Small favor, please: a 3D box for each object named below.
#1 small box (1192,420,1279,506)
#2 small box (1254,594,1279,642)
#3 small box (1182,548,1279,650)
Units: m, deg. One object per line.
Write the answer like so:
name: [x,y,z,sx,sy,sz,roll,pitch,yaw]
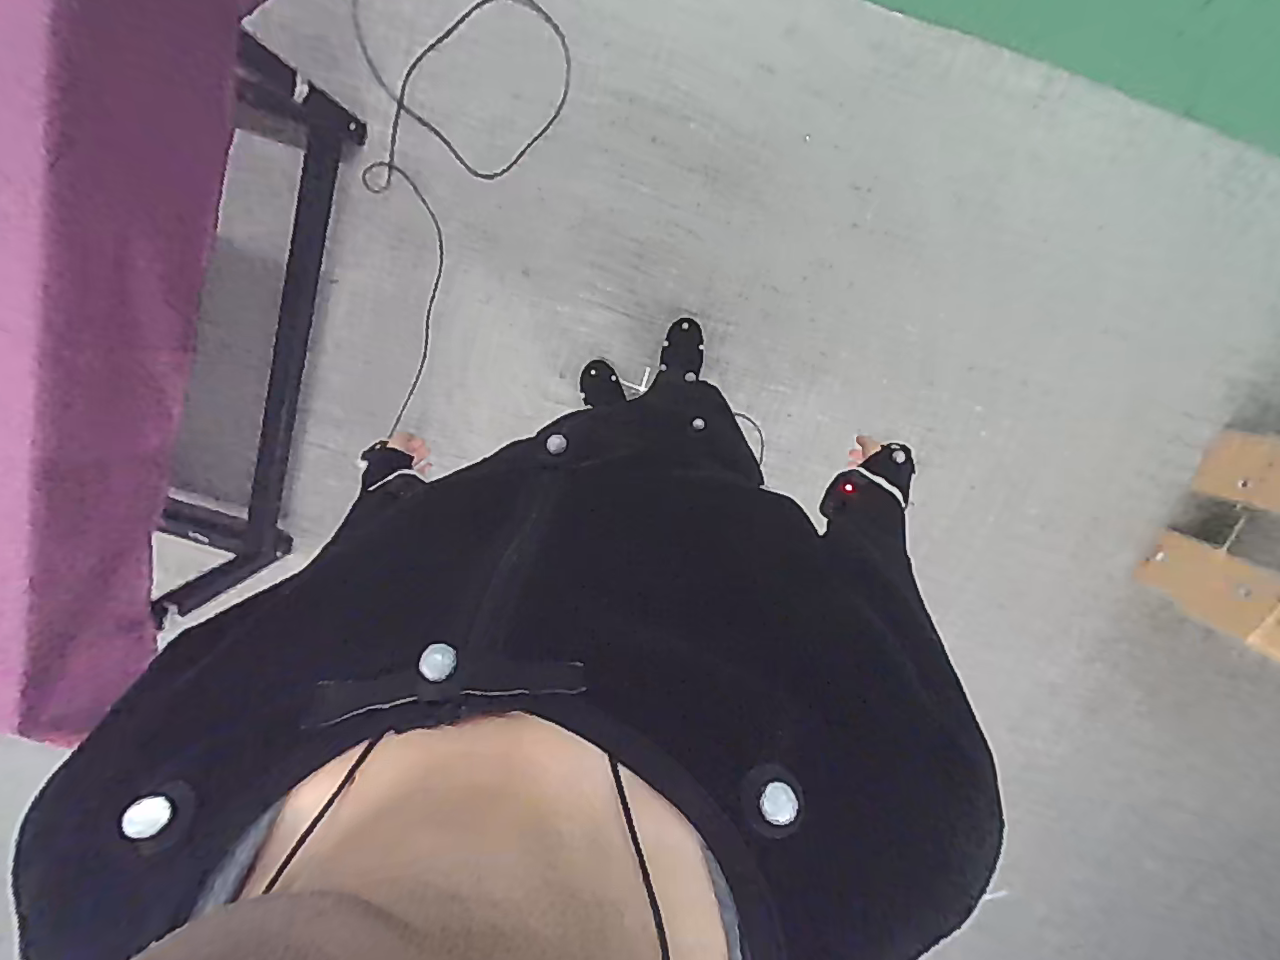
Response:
small box: [1.628,-0.043,1.418,0.168,0.176,0.179,16,104,-5]
small box: [1.533,0.323,1.176,0.179,0.176,0.168,23,103,-6]
small box: [1.524,0.292,1.336,0.168,0.176,0.179,26,102,-6]
